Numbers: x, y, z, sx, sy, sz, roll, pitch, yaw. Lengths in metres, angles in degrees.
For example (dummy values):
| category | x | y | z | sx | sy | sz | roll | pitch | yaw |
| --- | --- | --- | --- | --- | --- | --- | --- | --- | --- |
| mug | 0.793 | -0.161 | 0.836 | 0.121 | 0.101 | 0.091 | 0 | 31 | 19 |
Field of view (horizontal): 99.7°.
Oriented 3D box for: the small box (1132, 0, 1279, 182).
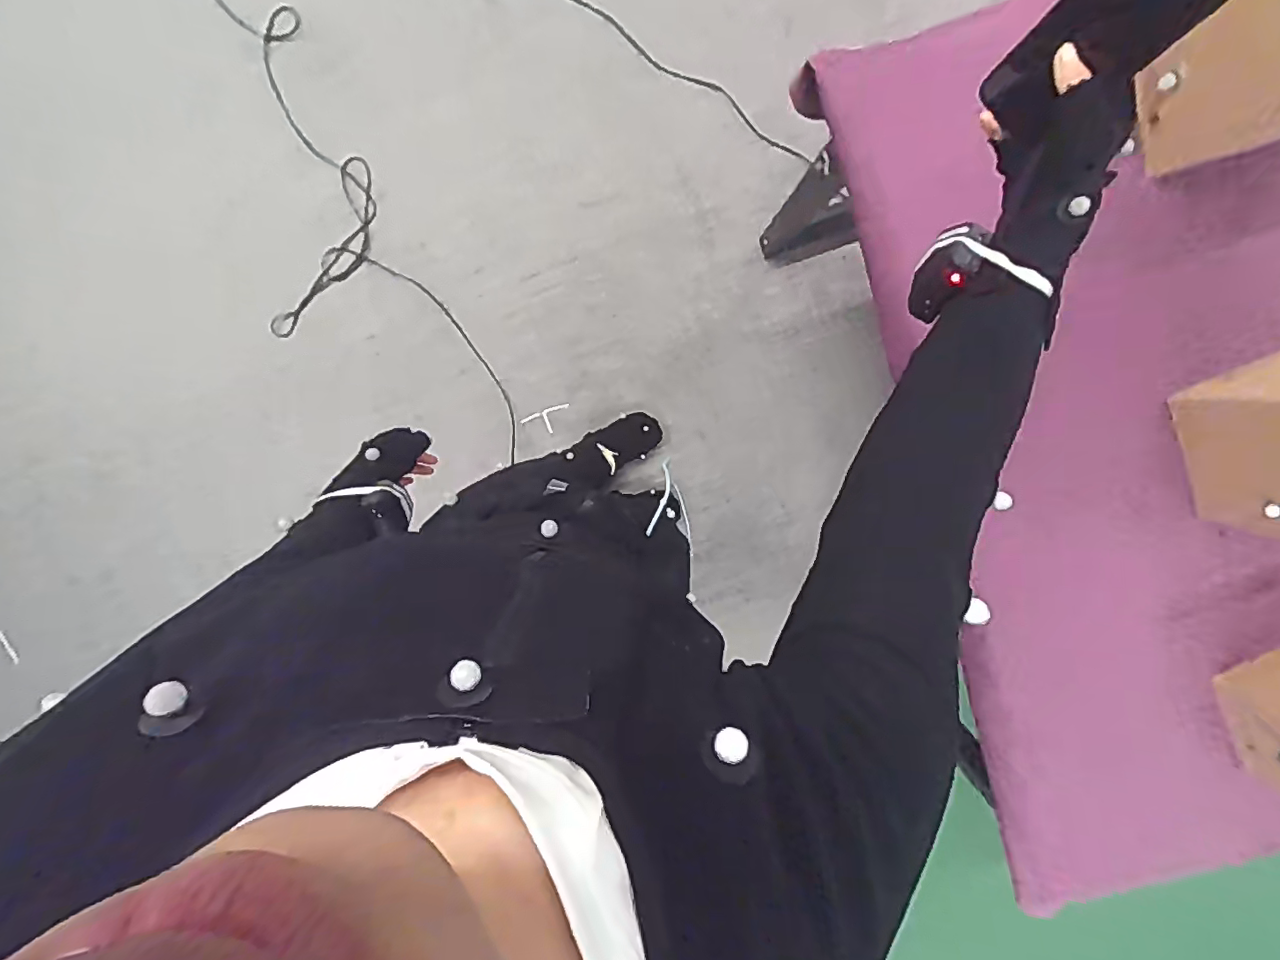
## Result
| category | x | y | z | sx | sy | sz | roll | pitch | yaw |
| --- | --- | --- | --- | --- | --- | --- | --- | --- | --- |
| small box | 0.669 | -0.439 | 0.554 | 0.179 | 0.176 | 0.168 | -15 | 99 | 5 |
